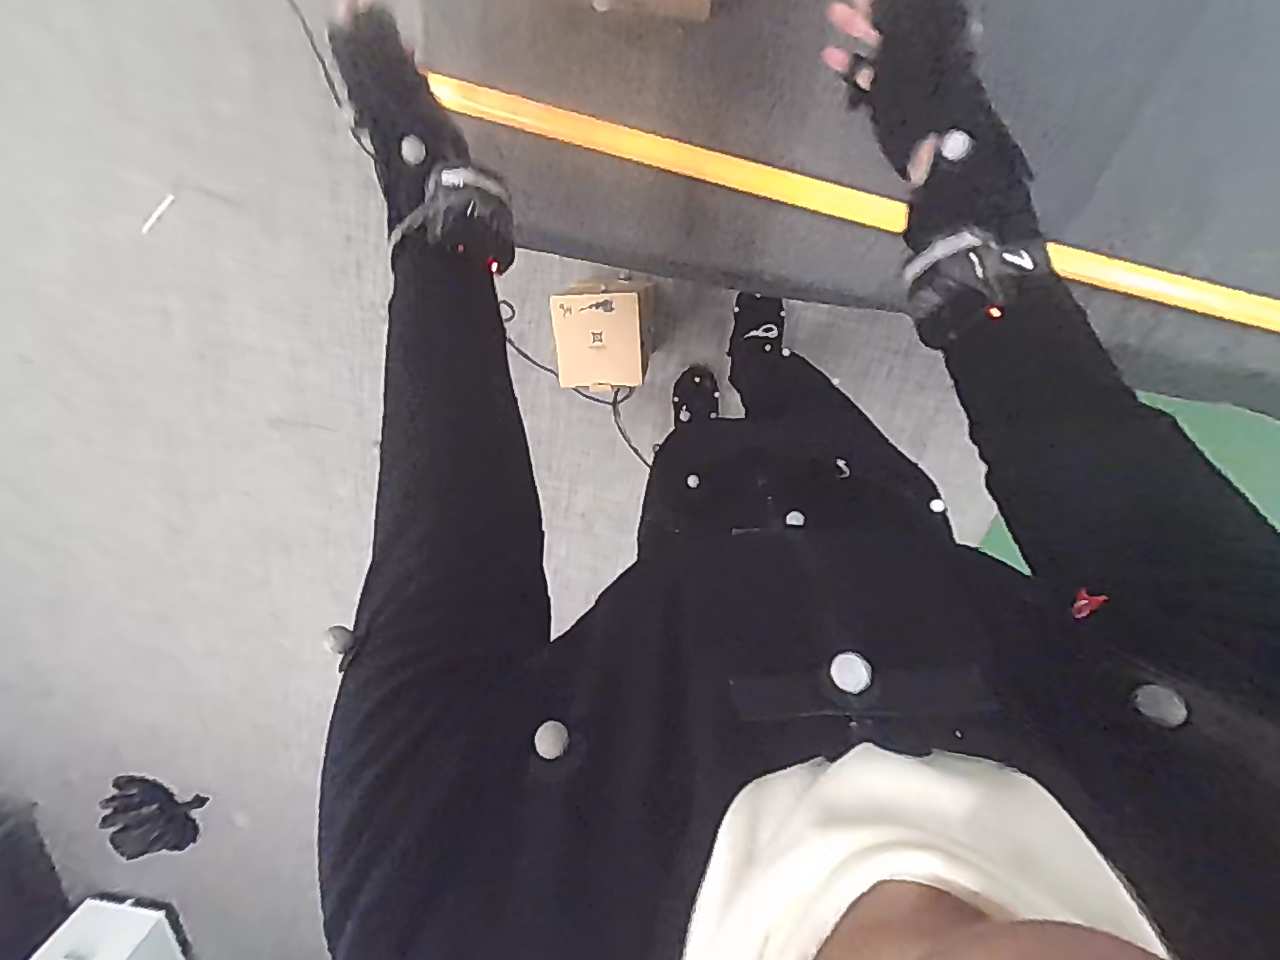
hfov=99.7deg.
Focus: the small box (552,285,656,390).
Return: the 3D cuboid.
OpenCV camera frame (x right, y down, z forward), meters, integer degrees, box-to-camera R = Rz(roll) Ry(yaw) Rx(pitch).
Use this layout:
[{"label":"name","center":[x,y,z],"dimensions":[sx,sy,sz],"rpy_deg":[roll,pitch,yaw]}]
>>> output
[{"label":"small box","center":[-0.064,-0.292,1.097],"dimensions":[0.168,0.176,0.179],"rpy_deg":[-2,113,10]}]
